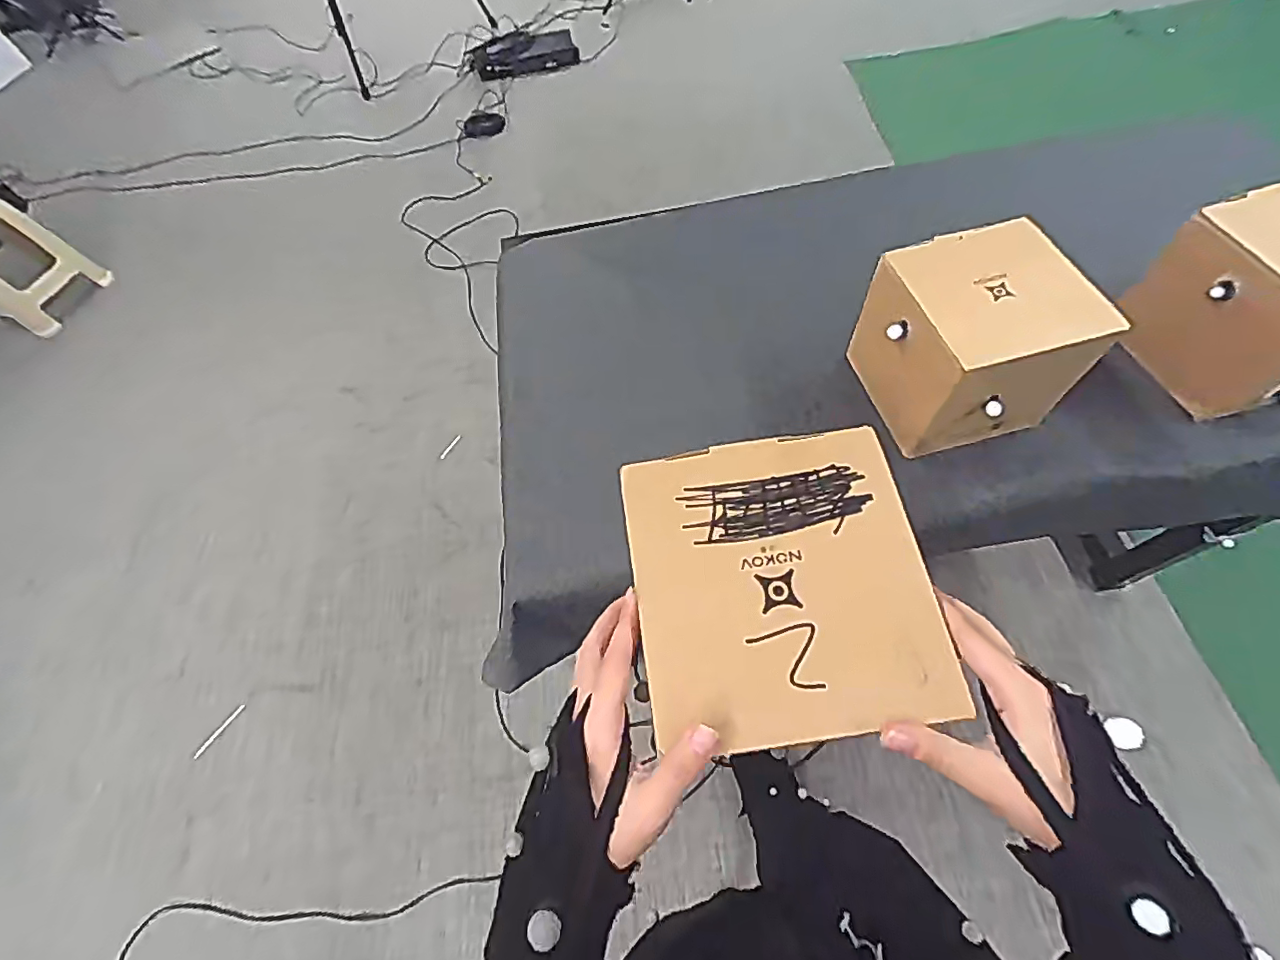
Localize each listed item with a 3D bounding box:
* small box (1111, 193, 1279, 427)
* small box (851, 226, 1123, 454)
[{"bbox_3d":[0.689,-0.188,0.602,0.168,0.176,0.179,-17,61,-1],"label":"small box"},{"bbox_3d":[0.366,-0.147,0.615,0.168,0.176,0.179,-15,60,-2],"label":"small box"}]
